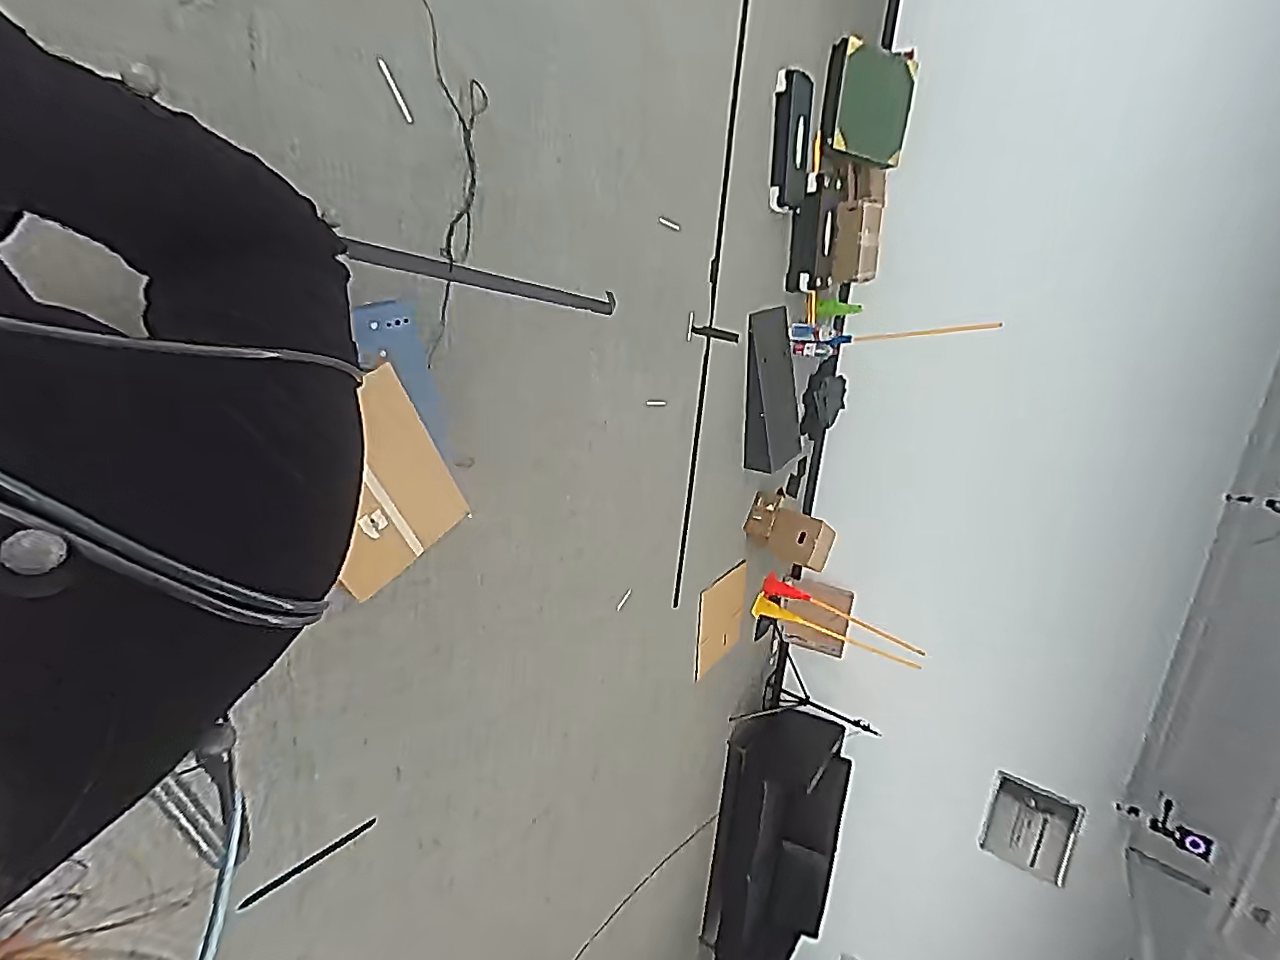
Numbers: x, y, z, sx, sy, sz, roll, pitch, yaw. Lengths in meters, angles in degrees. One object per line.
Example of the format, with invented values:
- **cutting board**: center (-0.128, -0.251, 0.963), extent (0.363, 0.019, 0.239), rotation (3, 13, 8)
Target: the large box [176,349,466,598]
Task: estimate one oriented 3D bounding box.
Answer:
- **large box**: center (-0.663, -0.026, 1.171), extent (0.320, 0.320, 0.408), rotation (-46, 137, -34)
